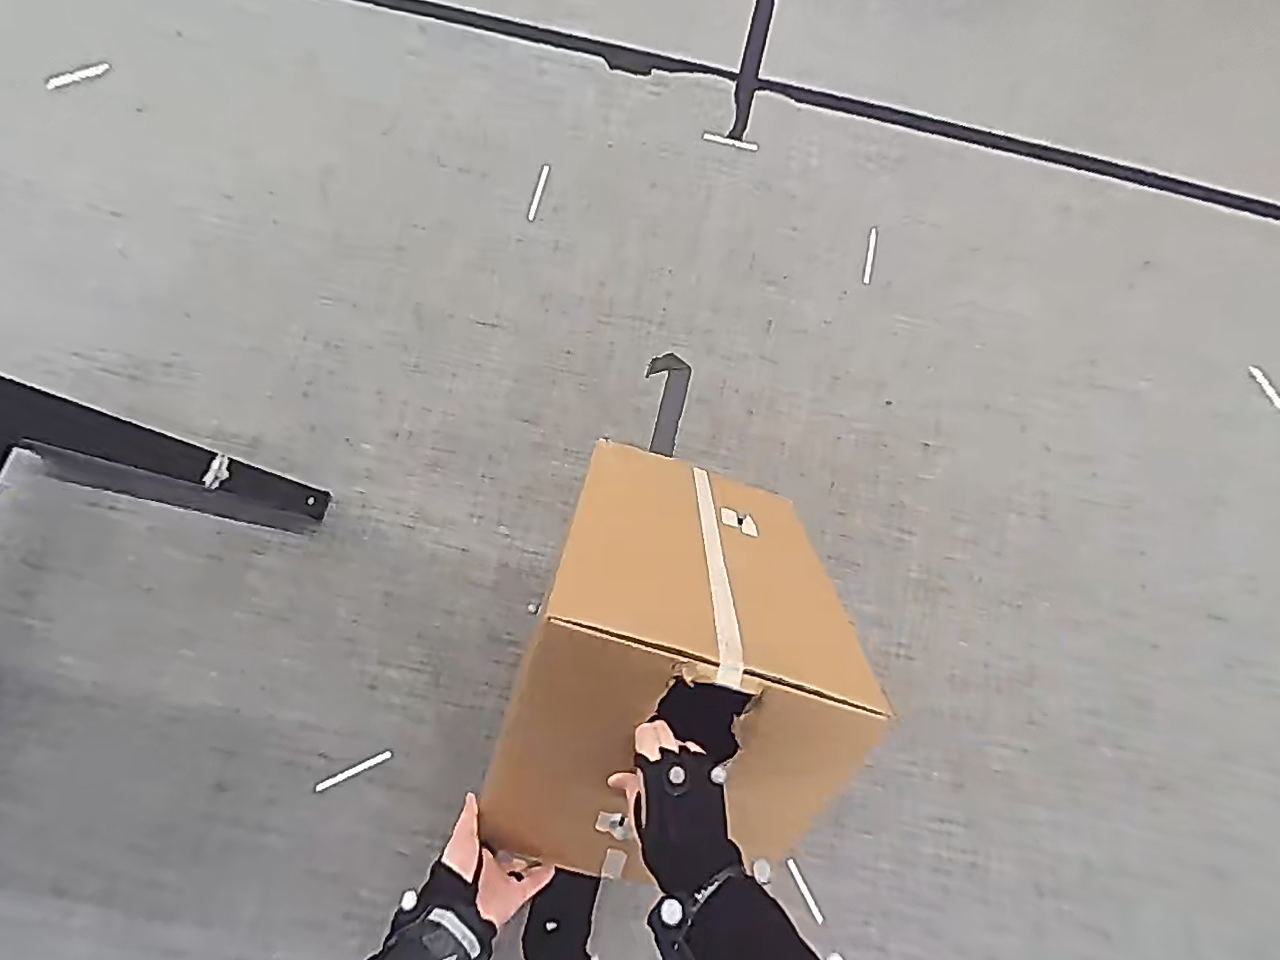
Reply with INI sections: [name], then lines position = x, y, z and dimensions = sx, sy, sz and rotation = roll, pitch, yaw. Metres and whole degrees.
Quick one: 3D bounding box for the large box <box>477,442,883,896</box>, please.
[large box]
position = 0.024, 0.200, 0.680
dimensions = 0.320, 0.408, 0.320
rotation = 19, 114, -6
